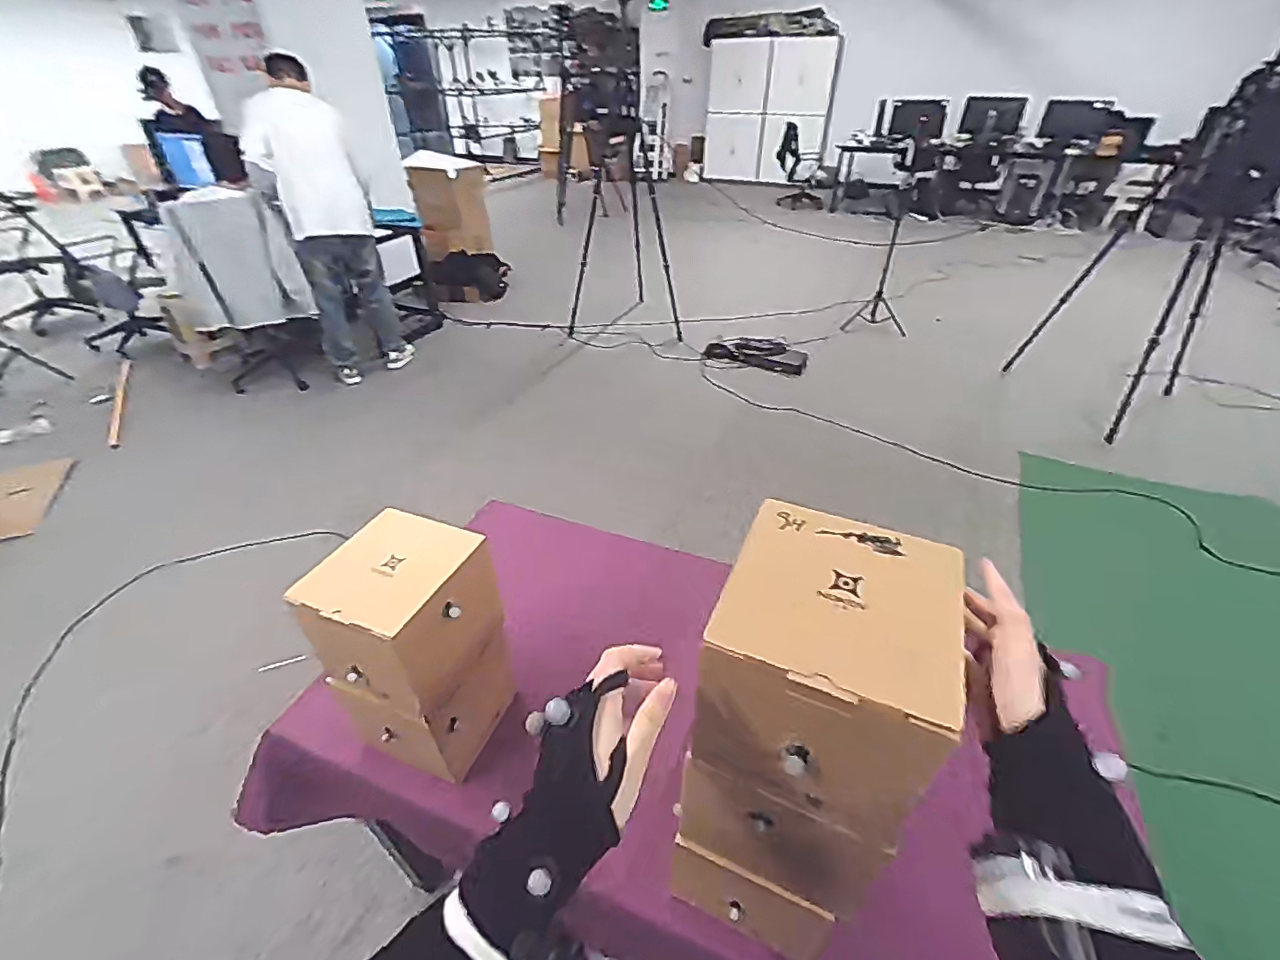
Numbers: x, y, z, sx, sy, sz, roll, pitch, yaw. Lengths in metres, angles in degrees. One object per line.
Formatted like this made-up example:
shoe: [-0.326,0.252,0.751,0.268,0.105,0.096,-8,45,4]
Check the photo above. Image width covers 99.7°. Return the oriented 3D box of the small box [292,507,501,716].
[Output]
small box: [-0.301,0.168,0.713,0.168,0.176,0.179,14,40,18]

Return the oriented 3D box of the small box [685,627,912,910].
small box: [0.154,0.289,0.551,0.179,0.176,0.168,17,41,20]

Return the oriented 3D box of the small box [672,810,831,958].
small box: [0.146,0.420,0.651,0.168,0.176,0.179,16,40,20]
